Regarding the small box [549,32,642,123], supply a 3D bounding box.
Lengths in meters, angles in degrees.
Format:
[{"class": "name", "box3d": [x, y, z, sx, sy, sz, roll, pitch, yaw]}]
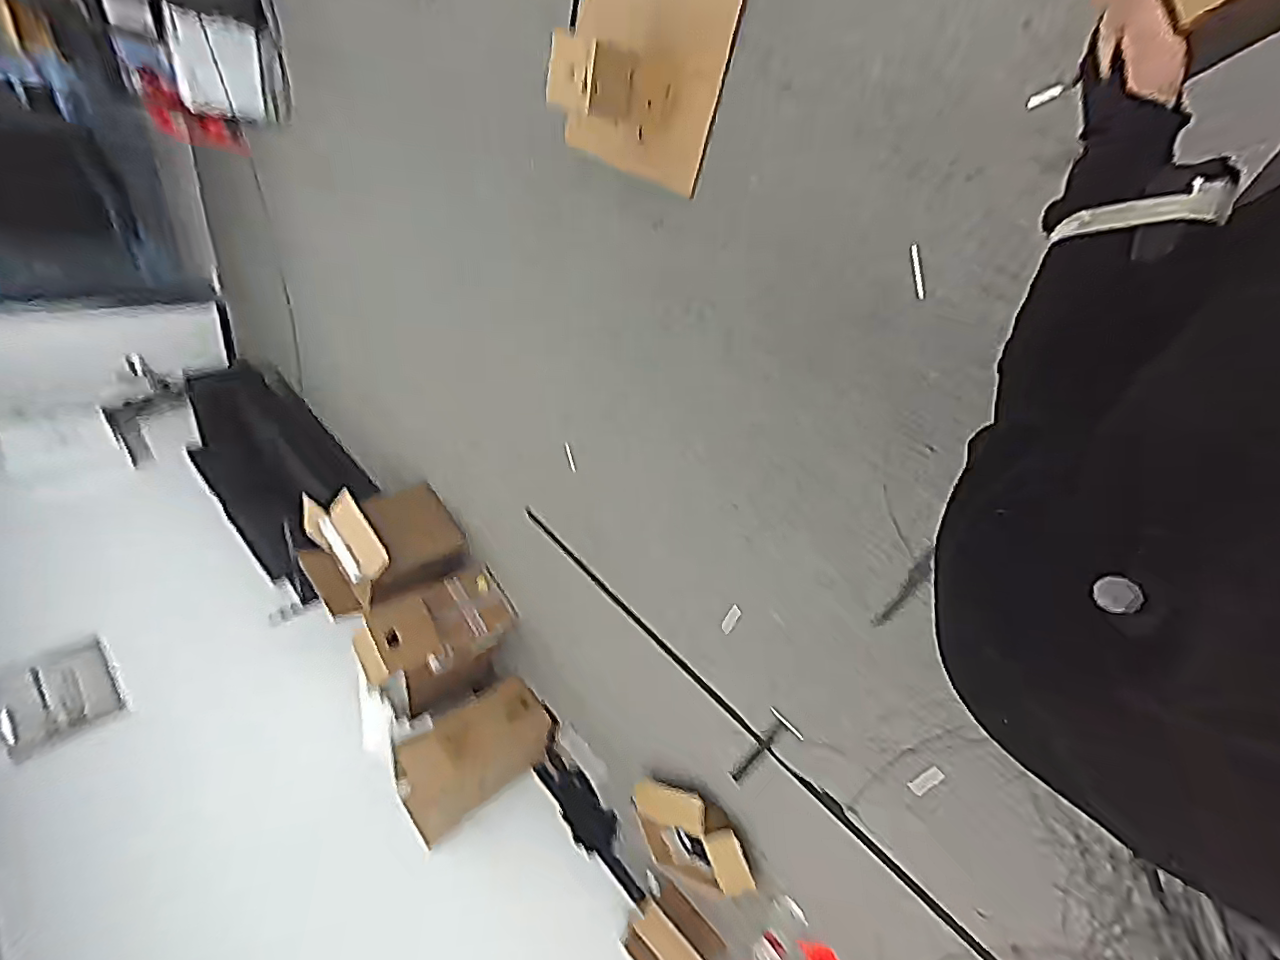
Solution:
[{"class": "small box", "box3d": [-0.122, -1.095, 1.479, 0.179, 0.176, 0.168, 35, 130, 29]}]

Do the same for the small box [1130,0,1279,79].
[{"class": "small box", "box3d": [0.393, -0.390, 0.320, 0.168, 0.176, 0.179, -18, 94, 45]}]

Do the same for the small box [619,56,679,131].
[{"class": "small box", "box3d": [-0.010, -1.144, 1.589, 0.179, 0.176, 0.168, 36, 130, 28]}]
